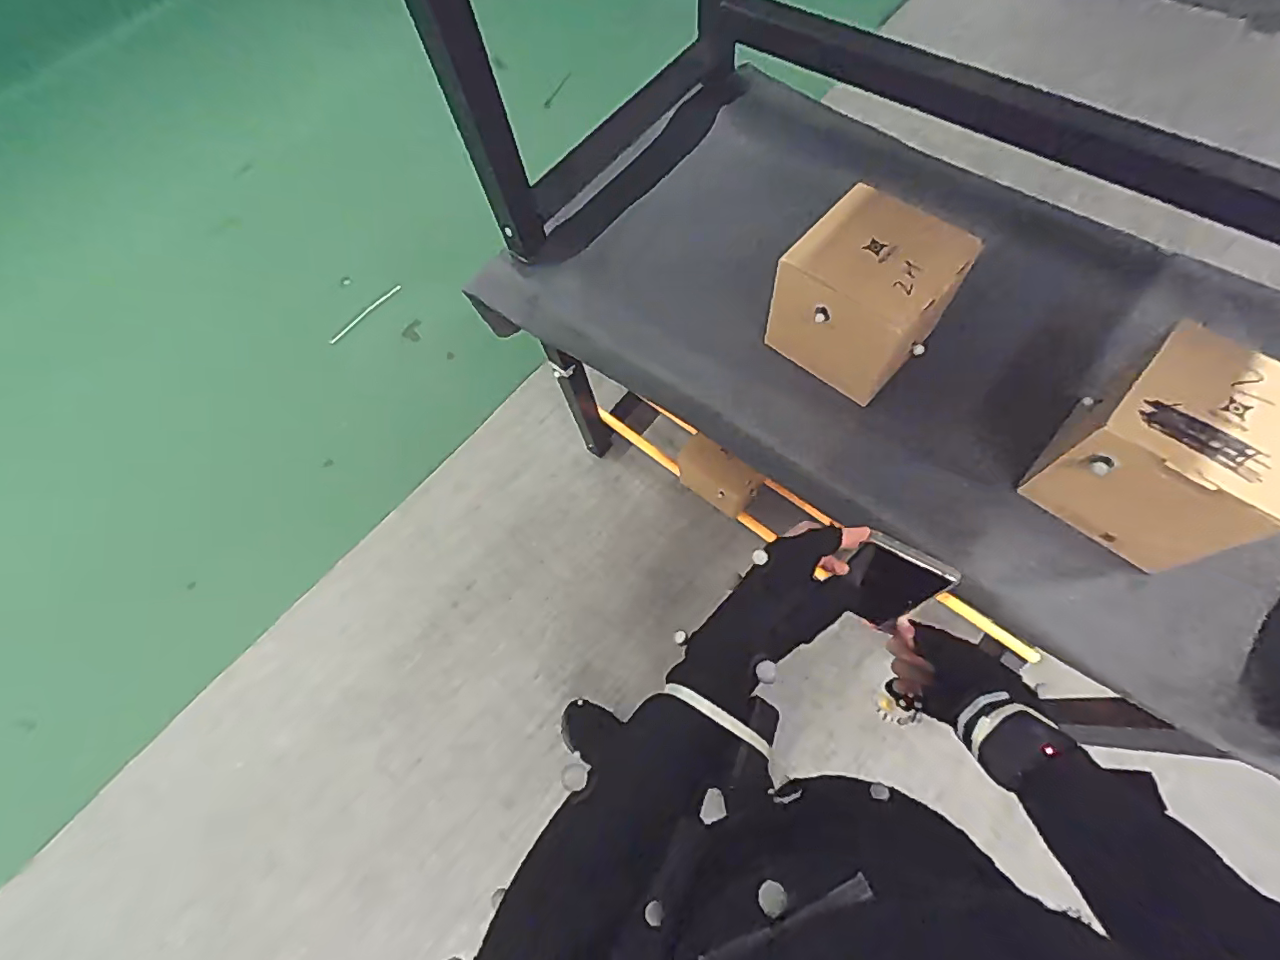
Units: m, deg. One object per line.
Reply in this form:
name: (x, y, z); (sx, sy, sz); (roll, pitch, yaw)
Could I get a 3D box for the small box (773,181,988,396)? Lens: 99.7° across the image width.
small box: (0.296, -0.242, 0.711); (0.179, 0.176, 0.168); (40, 77, 20)

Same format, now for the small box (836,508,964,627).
small box: (0.550, 0.197, 1.175); (0.168, 0.176, 0.179); (40, 77, 20)
